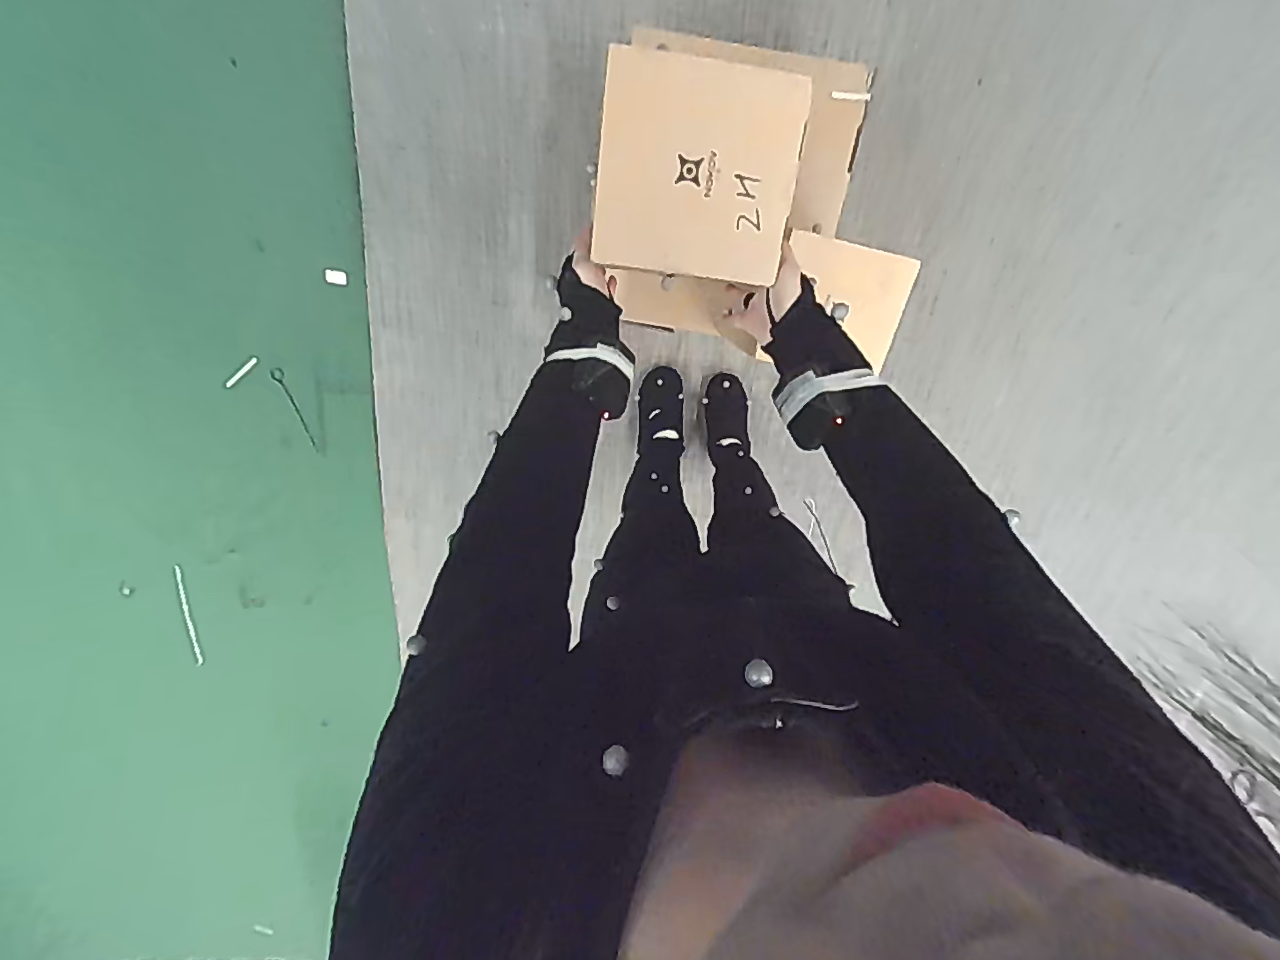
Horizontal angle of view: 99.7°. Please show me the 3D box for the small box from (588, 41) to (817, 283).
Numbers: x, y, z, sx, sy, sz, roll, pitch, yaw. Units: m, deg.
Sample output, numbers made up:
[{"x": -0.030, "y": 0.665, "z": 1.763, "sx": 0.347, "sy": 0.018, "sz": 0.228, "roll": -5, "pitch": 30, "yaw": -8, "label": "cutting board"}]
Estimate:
[{"x": 0.046, "y": -0.292, "z": 0.536, "sx": 0.179, "sy": 0.176, "sz": 0.168, "roll": 6, "pitch": 111, "yaw": -5, "label": "small box"}]

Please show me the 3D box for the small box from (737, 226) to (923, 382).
[{"x": 0.254, "y": -0.252, "z": 0.771, "sx": 0.179, "sy": 0.176, "sz": 0.168, "roll": 12, "pitch": 110, "yaw": -4, "label": "small box"}]

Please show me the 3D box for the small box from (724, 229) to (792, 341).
[{"x": 0.248, "y": -0.318, "z": 0.920, "sx": 0.168, "sy": 0.176, "sz": 0.179, "roll": 11, "pitch": 110, "yaw": -4, "label": "small box"}]
